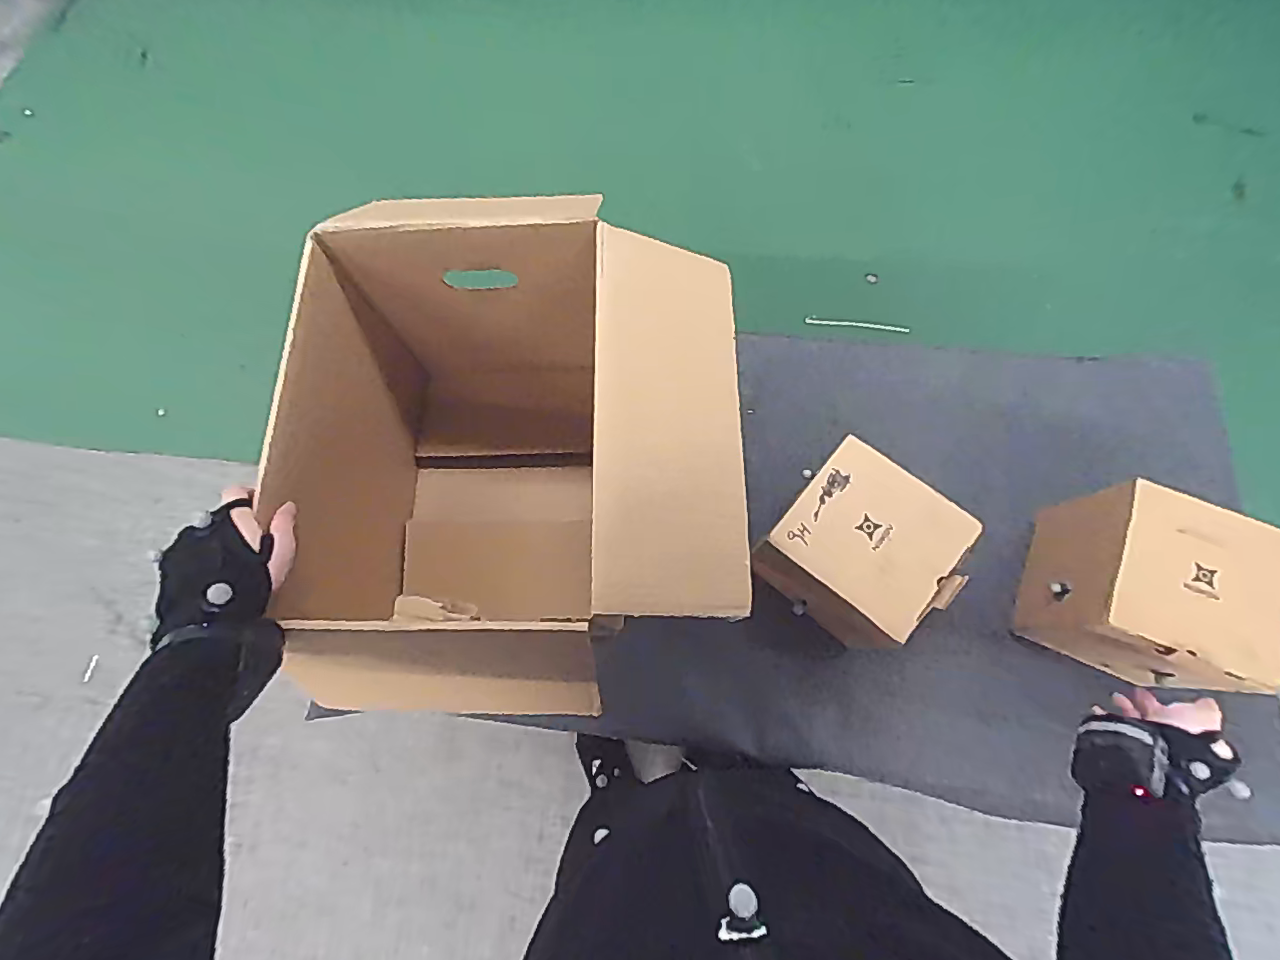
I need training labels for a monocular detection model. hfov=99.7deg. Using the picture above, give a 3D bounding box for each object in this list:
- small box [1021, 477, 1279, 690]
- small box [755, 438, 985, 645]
[{"bbox_3d":[0.594,0.126,0.639,0.168,0.176,0.179,23,74,9],"label":"small box"},{"bbox_3d":[0.267,0.083,0.673,0.179,0.176,0.168,39,79,14],"label":"small box"}]
